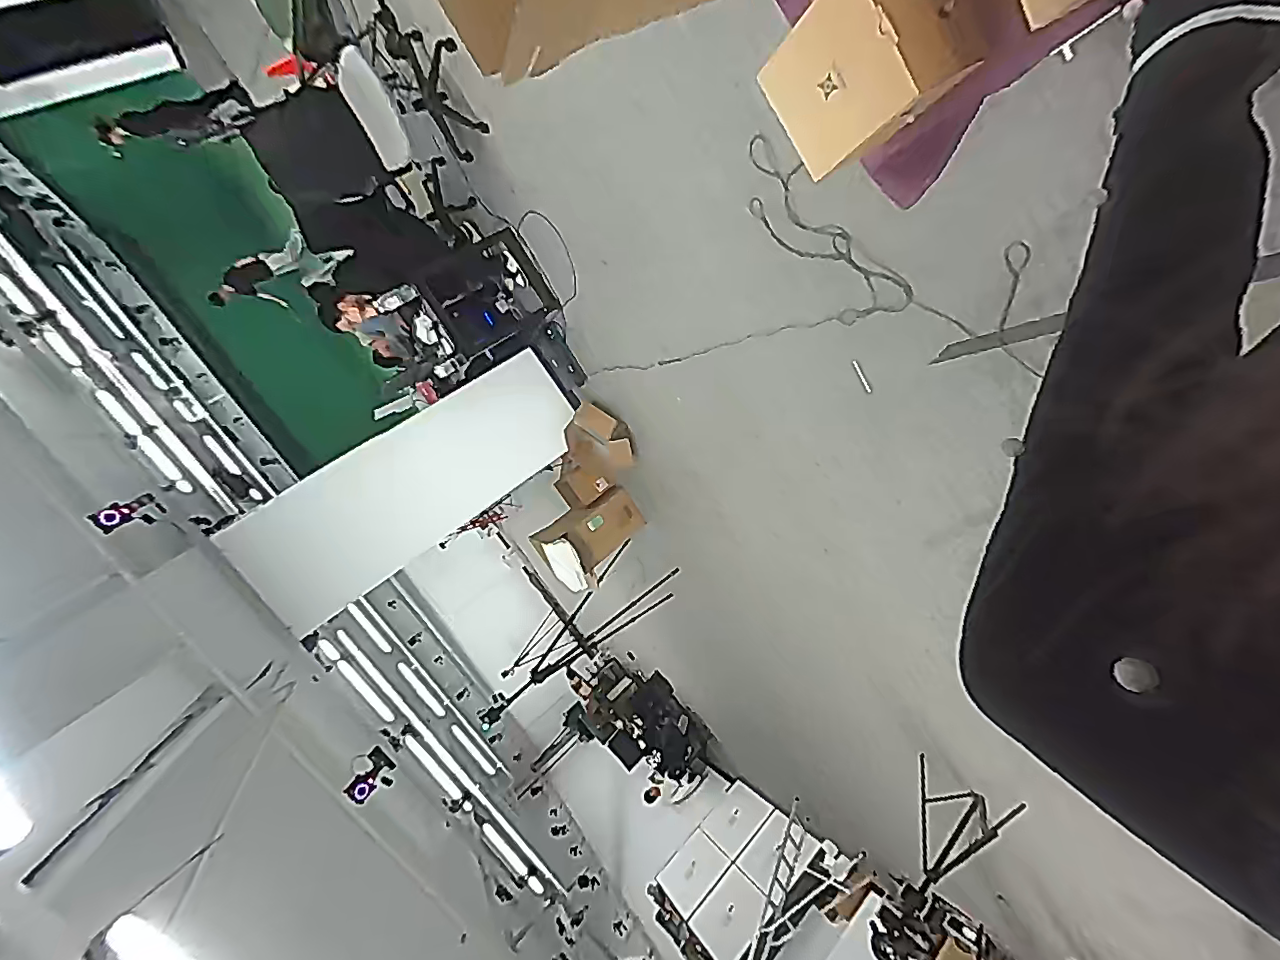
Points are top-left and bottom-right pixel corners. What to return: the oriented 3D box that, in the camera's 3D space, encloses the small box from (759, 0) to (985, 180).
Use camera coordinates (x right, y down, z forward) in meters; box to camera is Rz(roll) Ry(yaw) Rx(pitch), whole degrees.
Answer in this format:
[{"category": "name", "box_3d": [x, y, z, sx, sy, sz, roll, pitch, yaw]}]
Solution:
[{"category": "small box", "box_3d": [0.298, -0.542, 0.706, 0.168, 0.176, 0.179, 55, 157, -9]}]
